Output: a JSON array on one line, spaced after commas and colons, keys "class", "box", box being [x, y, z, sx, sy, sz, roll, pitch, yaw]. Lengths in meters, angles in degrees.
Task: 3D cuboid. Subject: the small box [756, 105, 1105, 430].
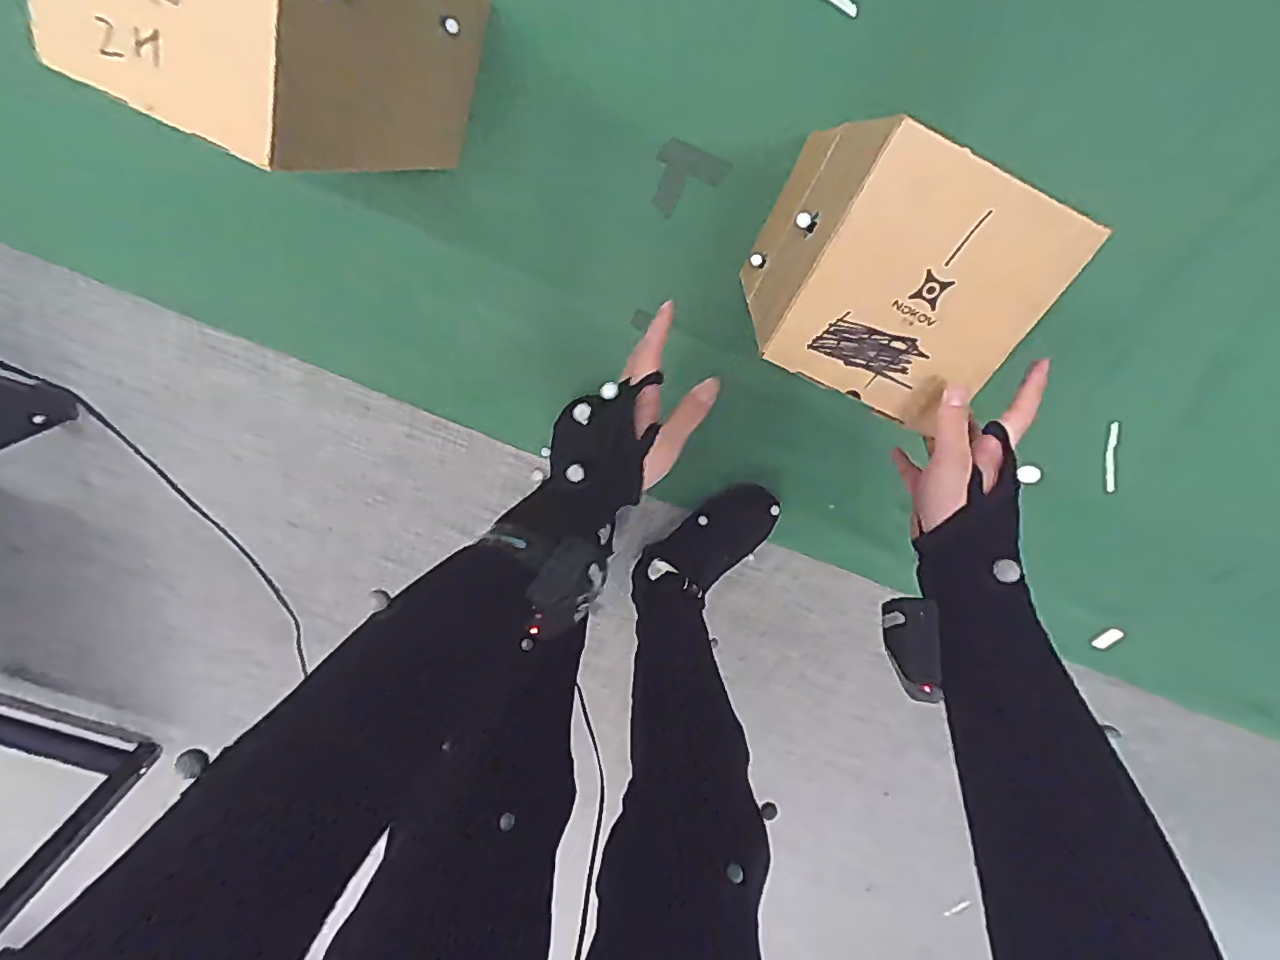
[{"class": "small box", "box": [0.211, -0.178, 0.458, 0.168, 0.176, 0.179, 23, 121, -8]}]

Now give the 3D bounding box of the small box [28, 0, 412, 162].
[{"class": "small box", "box": [-0.294, -0.368, 0.406, 0.168, 0.176, 0.179, 24, 121, -7]}]

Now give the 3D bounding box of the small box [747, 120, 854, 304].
[{"class": "small box", "box": [0.228, -0.264, 0.597, 0.168, 0.176, 0.179, 23, 122, -7]}]
